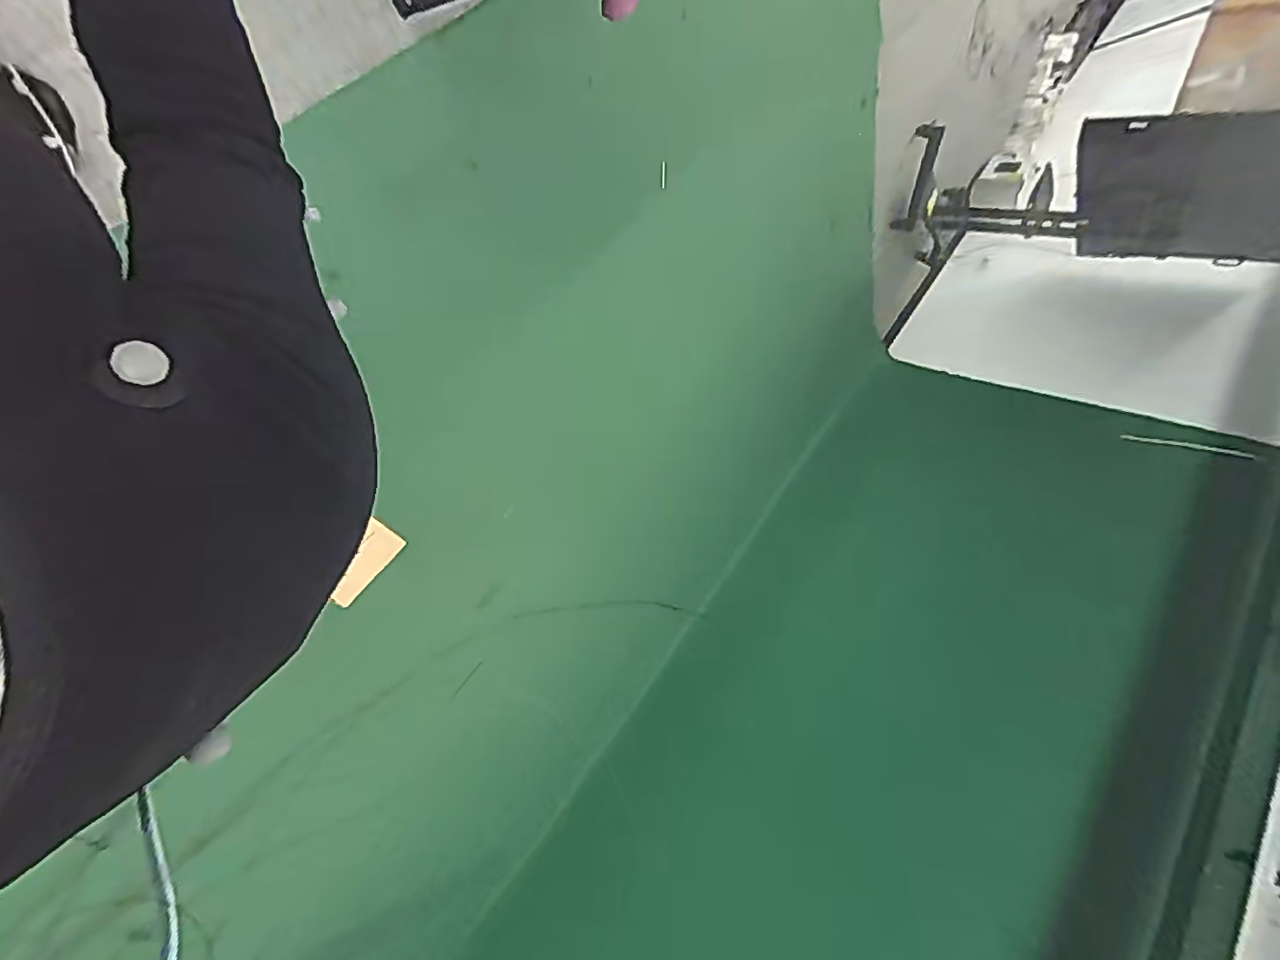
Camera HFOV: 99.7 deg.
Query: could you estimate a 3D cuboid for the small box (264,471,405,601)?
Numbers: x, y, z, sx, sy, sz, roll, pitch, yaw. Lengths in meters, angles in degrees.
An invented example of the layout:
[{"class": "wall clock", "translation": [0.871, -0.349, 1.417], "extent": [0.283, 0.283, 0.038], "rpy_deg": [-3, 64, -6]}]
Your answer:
[{"class": "small box", "translation": [-0.640, 0.114, 1.125], "extent": [0.179, 0.176, 0.168], "rpy_deg": [-51, 142, -18]}]
